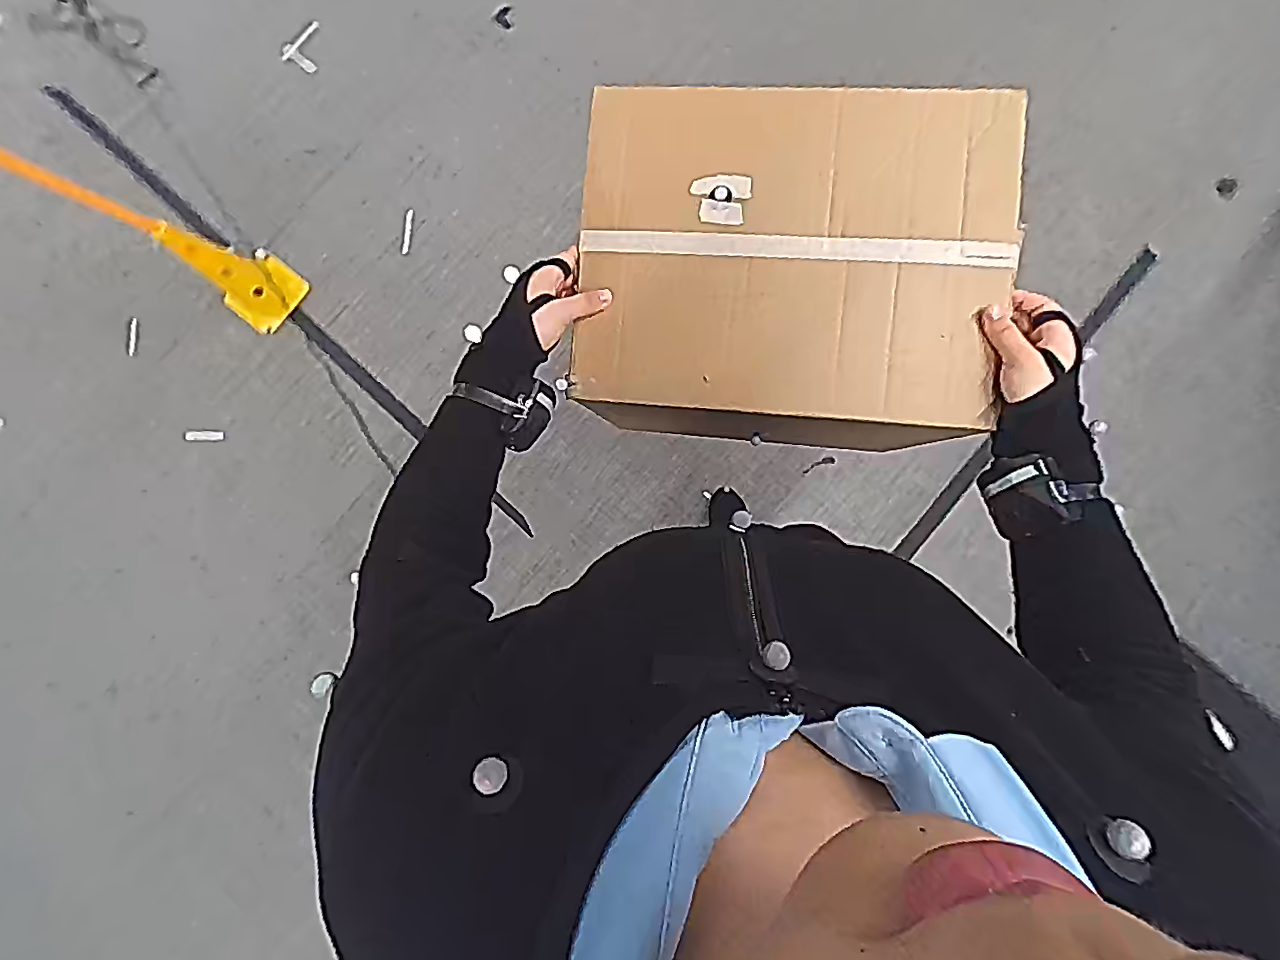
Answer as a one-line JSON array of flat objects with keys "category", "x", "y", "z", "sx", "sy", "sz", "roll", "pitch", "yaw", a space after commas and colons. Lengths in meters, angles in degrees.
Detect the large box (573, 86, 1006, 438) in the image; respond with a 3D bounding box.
[{"category": "large box", "x": 0.158, "y": -0.221, "z": 0.673, "sx": 0.408, "sy": 0.320, "sz": 0.320, "roll": 4, "pitch": 89, "yaw": 8}]
